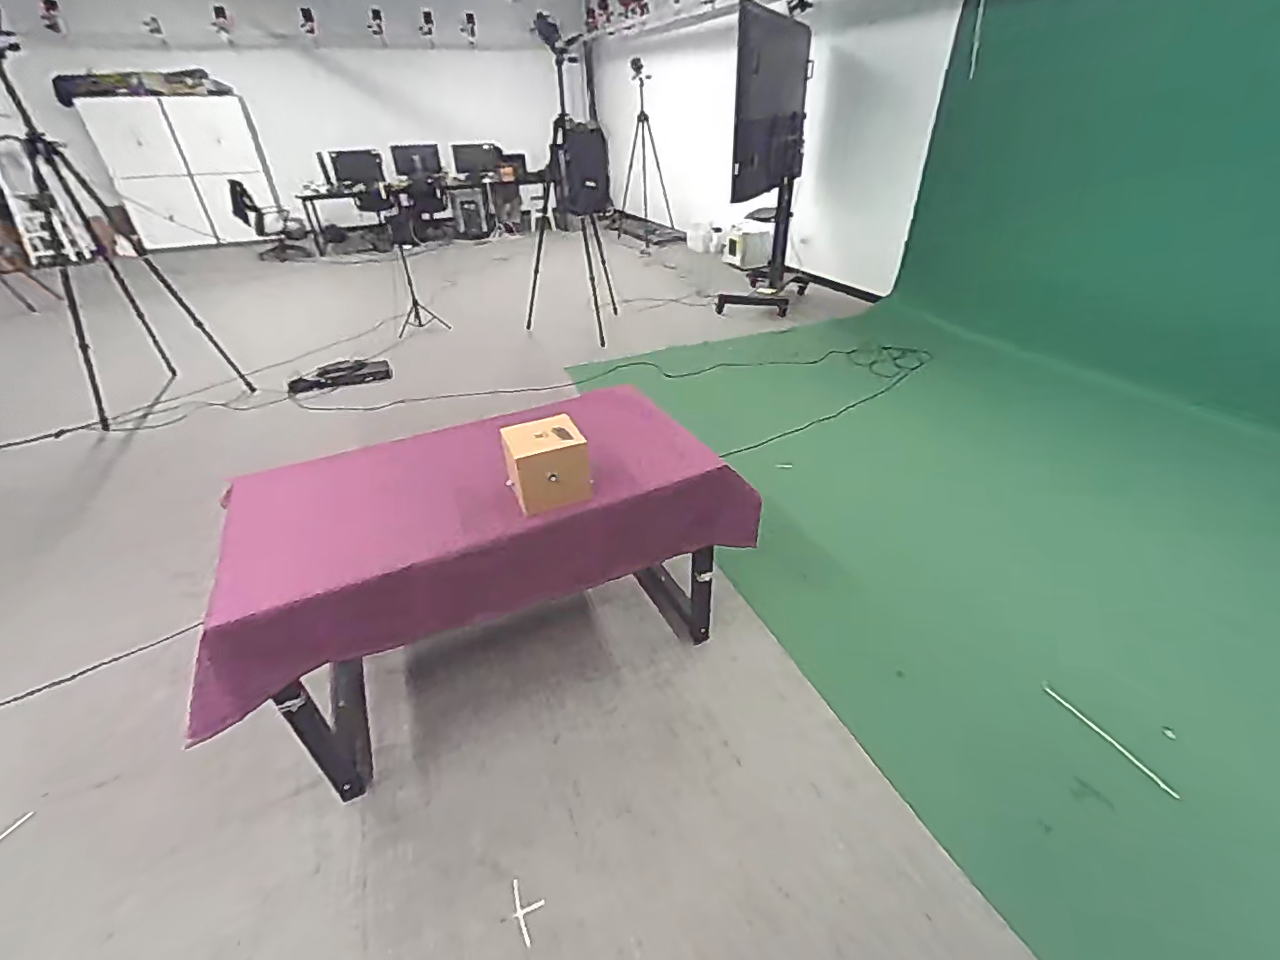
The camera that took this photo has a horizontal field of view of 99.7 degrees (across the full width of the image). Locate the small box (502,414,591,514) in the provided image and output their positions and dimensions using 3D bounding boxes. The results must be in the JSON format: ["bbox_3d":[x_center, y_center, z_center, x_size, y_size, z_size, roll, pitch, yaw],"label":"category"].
[{"bbox_3d":[-0.228,-0.041,1.344,0.179,0.176,0.168,-16,36,-18],"label":"small box"}]
